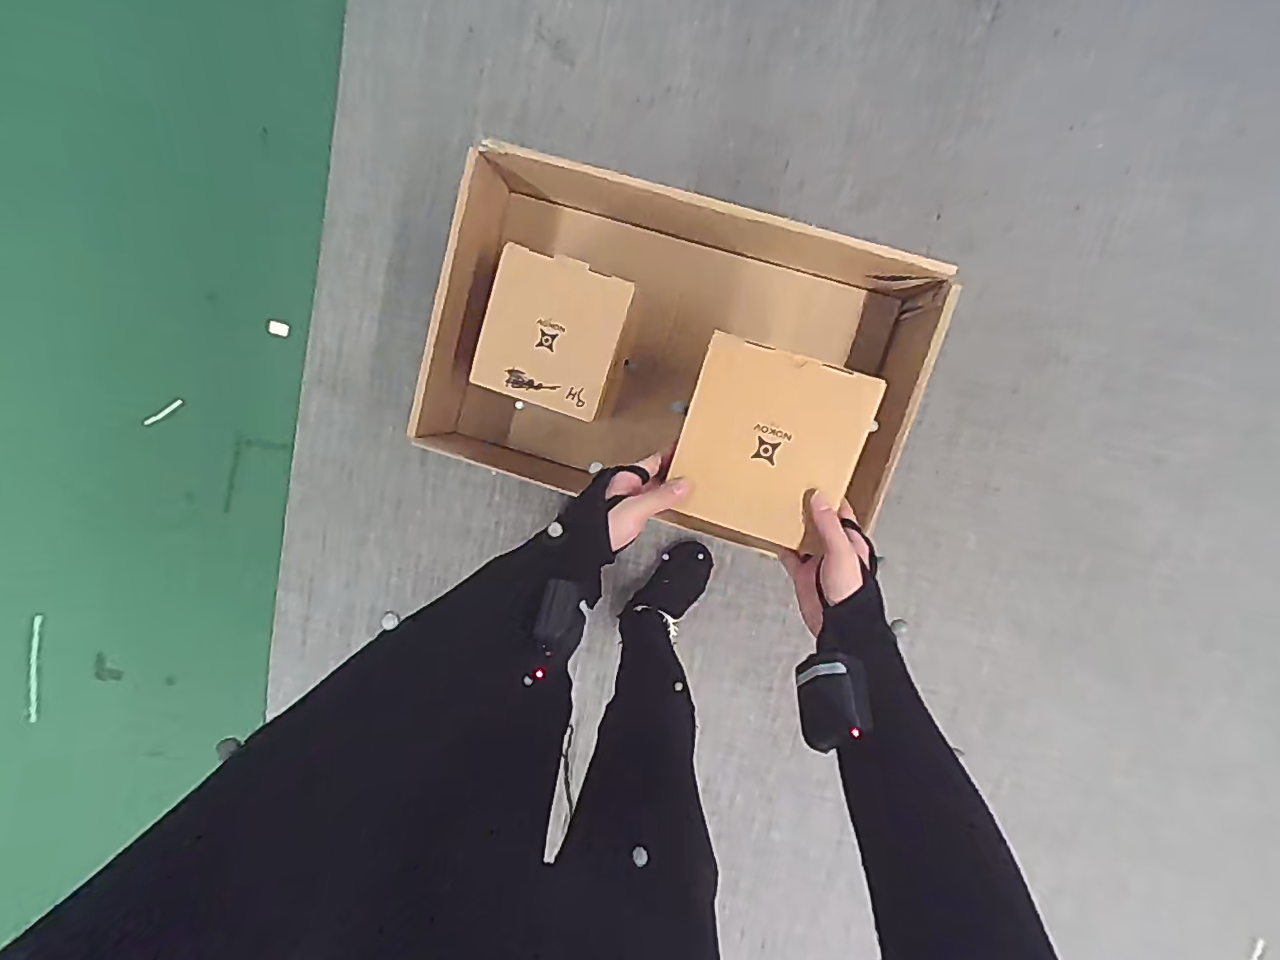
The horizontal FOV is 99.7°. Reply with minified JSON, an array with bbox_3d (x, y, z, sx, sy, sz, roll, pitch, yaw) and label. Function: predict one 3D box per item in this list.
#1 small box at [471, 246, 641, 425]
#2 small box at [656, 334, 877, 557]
[{"bbox_3d":[-0.101,-0.183,0.732,0.168,0.176,0.179,19,99,3],"label":"small box"},{"bbox_3d":[0.128,-0.041,0.591,0.168,0.176,0.179,18,99,5],"label":"small box"}]
